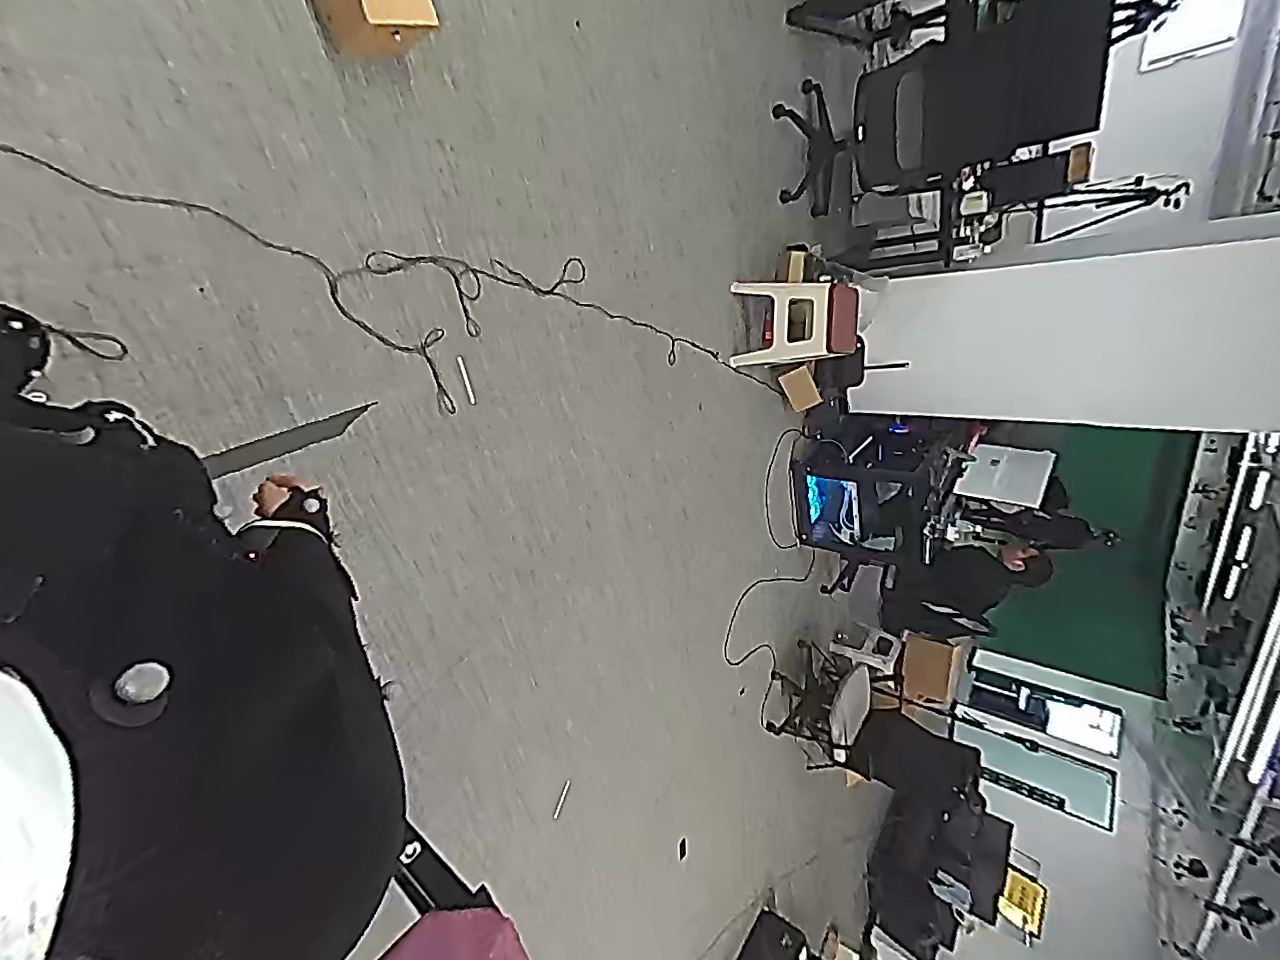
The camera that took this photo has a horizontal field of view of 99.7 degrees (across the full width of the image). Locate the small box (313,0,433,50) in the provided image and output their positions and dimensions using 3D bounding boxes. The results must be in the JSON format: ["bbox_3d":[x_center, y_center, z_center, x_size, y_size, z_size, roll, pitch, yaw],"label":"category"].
[{"bbox_3d":[-0.593,-1.064,1.172,0.179,0.176,0.168,-39,125,-38],"label":"small box"}]
